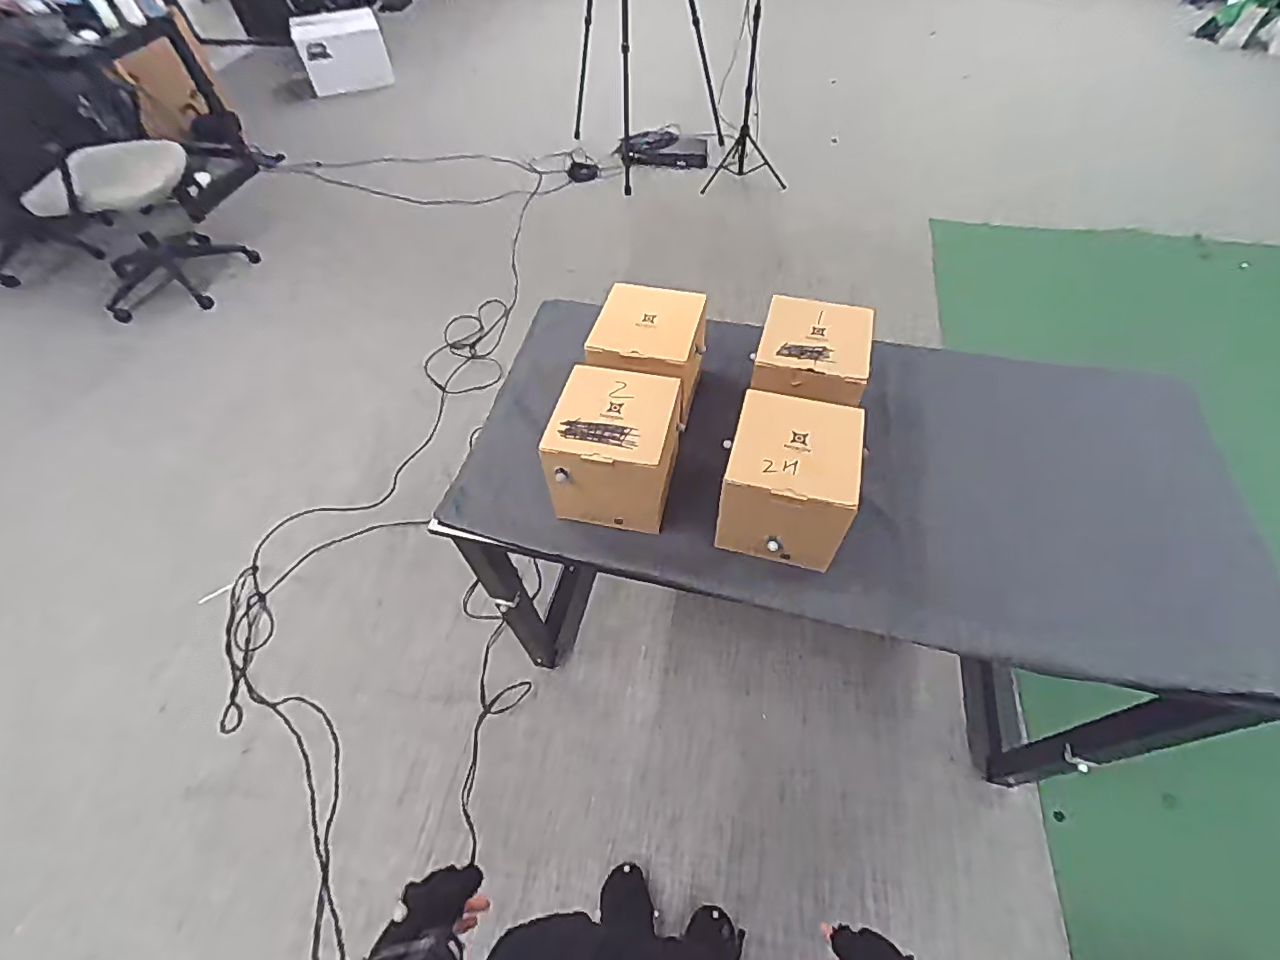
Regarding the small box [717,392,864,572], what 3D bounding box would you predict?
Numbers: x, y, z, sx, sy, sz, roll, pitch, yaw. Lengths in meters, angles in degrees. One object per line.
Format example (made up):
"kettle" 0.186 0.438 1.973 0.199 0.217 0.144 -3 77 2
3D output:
"small box" 0.211 0.004 0.781 0.168 0.176 0.179 12 55 11
